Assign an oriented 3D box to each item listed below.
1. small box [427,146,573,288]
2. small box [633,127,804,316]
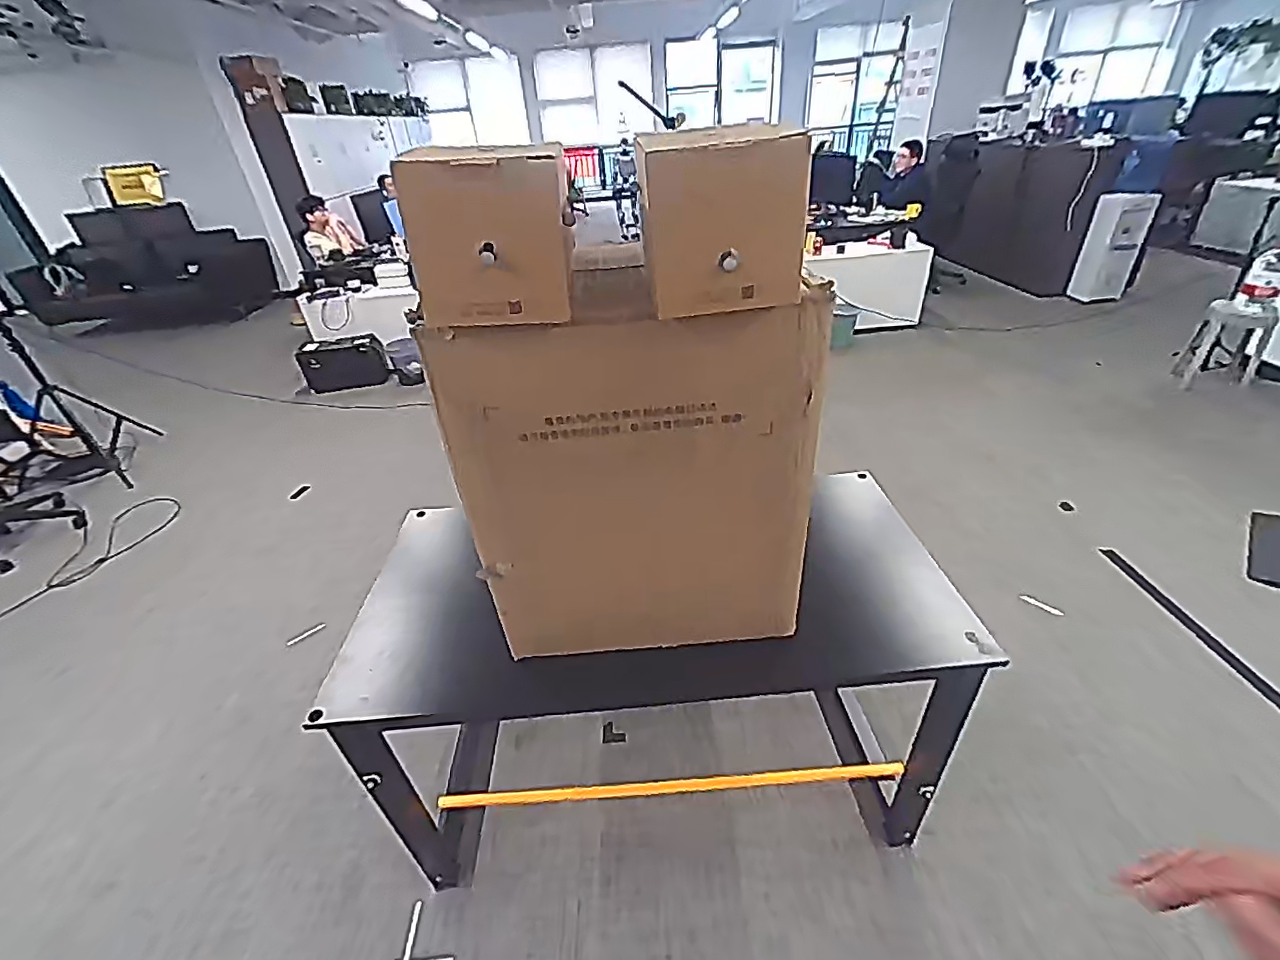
[{"bbox_3d":[-0.195,-0.395,0.810,0.168,0.176,0.179,-6,33,-1],"label":"small box"},{"bbox_3d":[0.083,-0.309,0.644,0.168,0.176,0.179,-7,37,1],"label":"small box"}]
